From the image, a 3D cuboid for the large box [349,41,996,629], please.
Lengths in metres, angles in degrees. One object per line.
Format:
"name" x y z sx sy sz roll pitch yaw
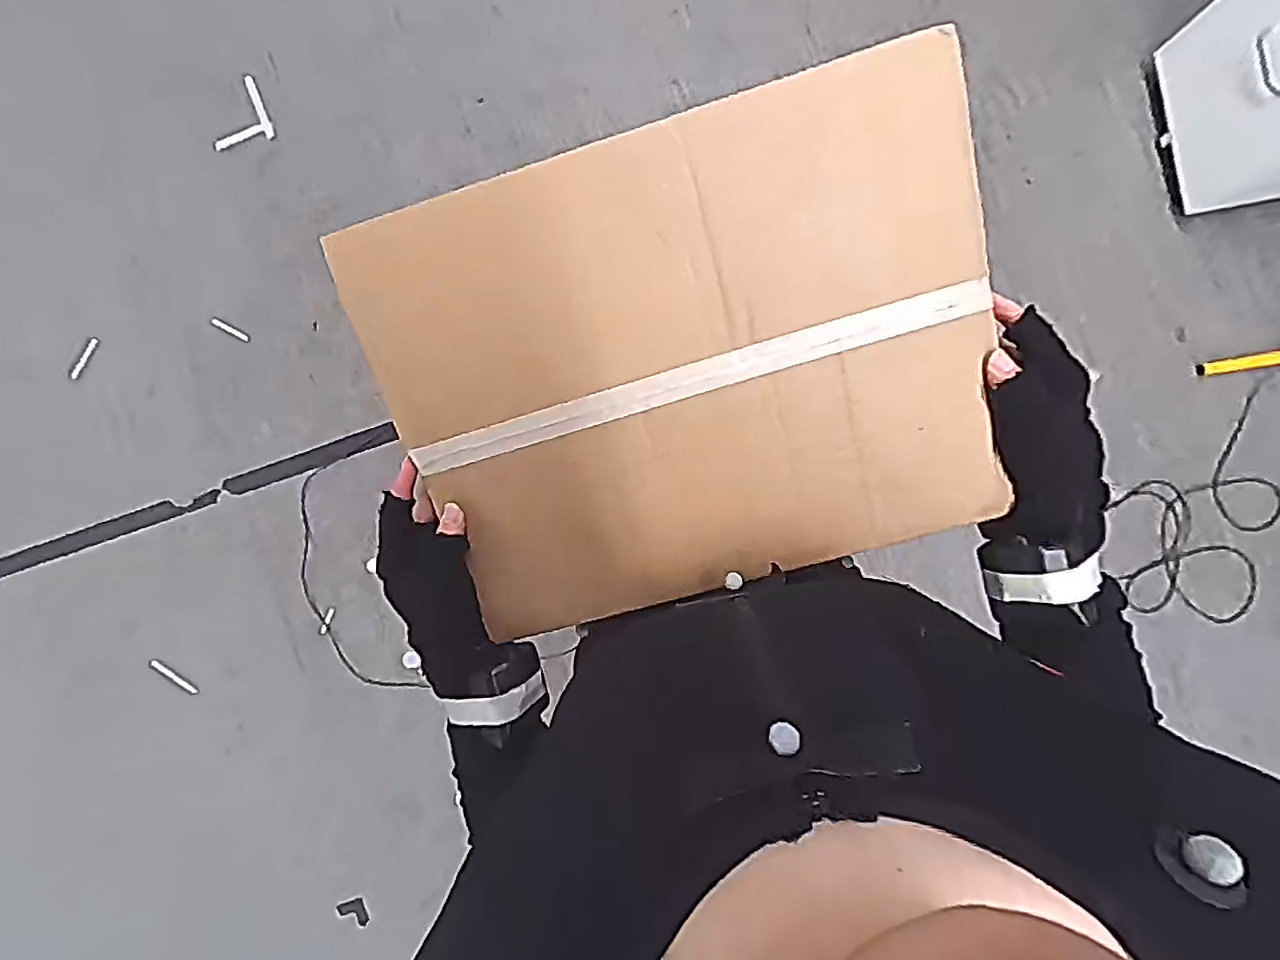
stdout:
"large box" 0.034 -0.110 0.525 0.408 0.320 0.320 -15 106 5
